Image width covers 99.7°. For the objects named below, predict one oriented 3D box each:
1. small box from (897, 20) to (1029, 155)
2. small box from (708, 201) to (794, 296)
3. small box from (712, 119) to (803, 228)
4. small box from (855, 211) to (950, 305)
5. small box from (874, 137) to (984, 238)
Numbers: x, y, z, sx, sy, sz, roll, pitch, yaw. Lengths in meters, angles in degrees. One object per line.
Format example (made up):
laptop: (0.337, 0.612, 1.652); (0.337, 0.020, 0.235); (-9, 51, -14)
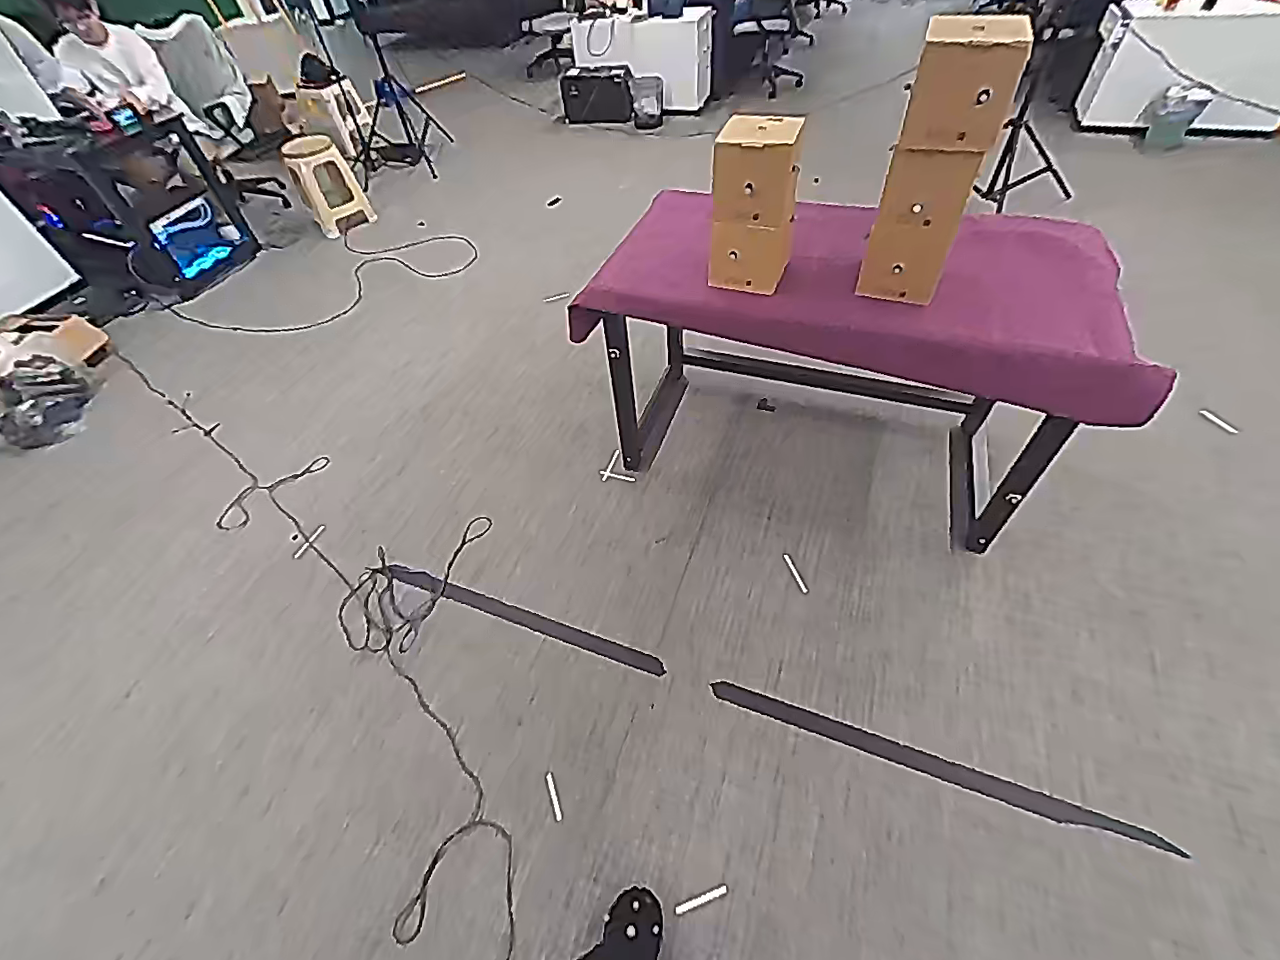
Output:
small box: (0.592, -0.730, 1.009); (0.168, 0.176, 0.179); (14, 52, 15)
small box: (0.273, -0.579, 1.342); (0.168, 0.176, 0.179); (15, 52, 17)
small box: (0.262, -0.691, 1.222); (0.168, 0.176, 0.179); (13, 52, 15)
small box: (0.618, -0.535, 1.270); (0.168, 0.176, 0.179); (17, 53, 18)
small box: (0.610, -0.642, 1.146); (0.168, 0.176, 0.179); (16, 54, 18)
